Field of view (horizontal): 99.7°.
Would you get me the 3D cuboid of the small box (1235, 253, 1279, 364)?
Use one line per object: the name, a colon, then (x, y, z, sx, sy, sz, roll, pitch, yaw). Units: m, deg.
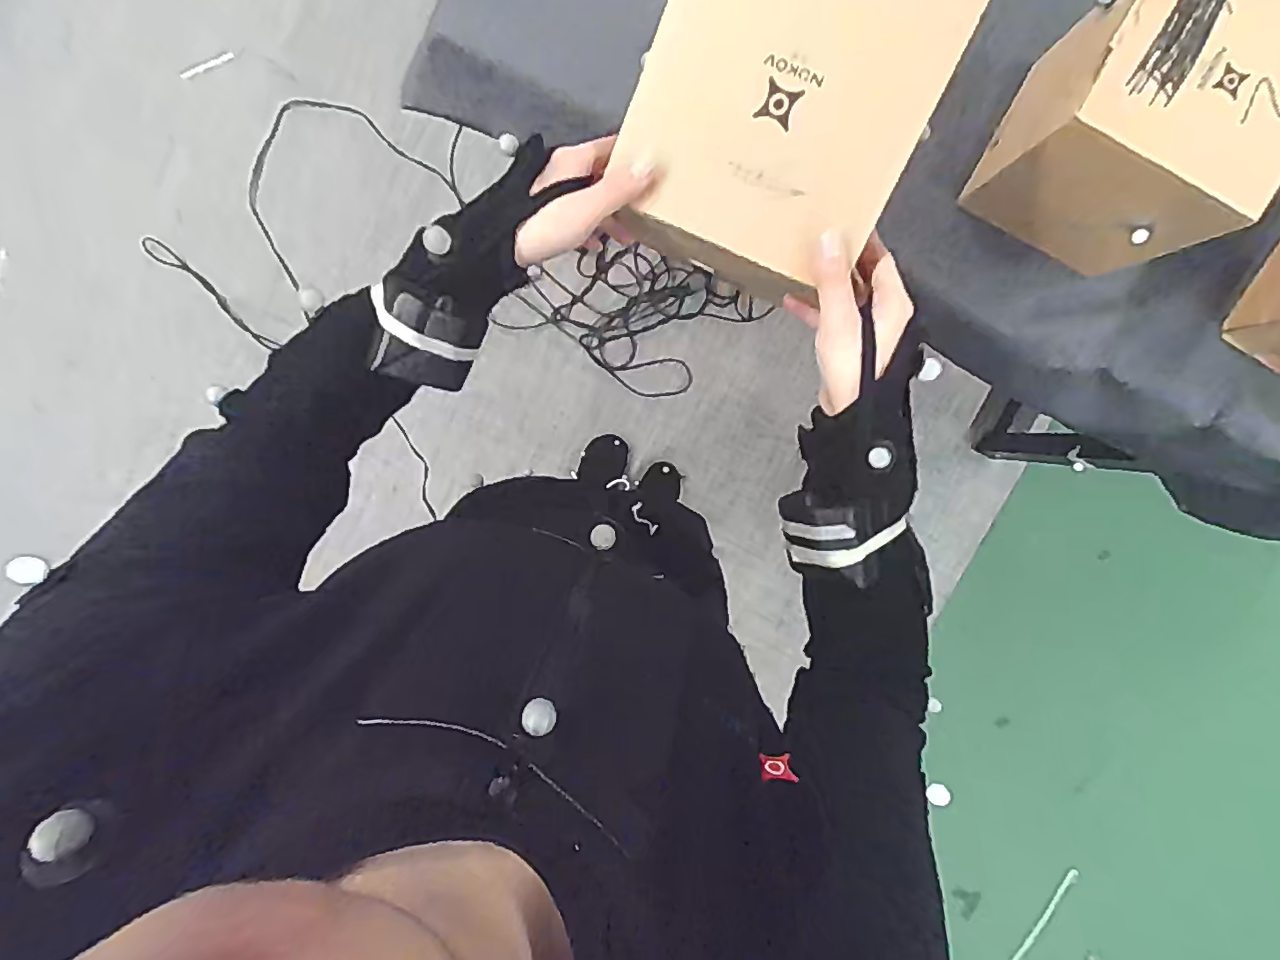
small box: (0.751, -0.192, 0.509, 0.168, 0.176, 0.179, 30, 96, -2)

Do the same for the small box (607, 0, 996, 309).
small box: (0.095, -0.241, 0.387, 0.168, 0.176, 0.179, 25, 106, 2)
